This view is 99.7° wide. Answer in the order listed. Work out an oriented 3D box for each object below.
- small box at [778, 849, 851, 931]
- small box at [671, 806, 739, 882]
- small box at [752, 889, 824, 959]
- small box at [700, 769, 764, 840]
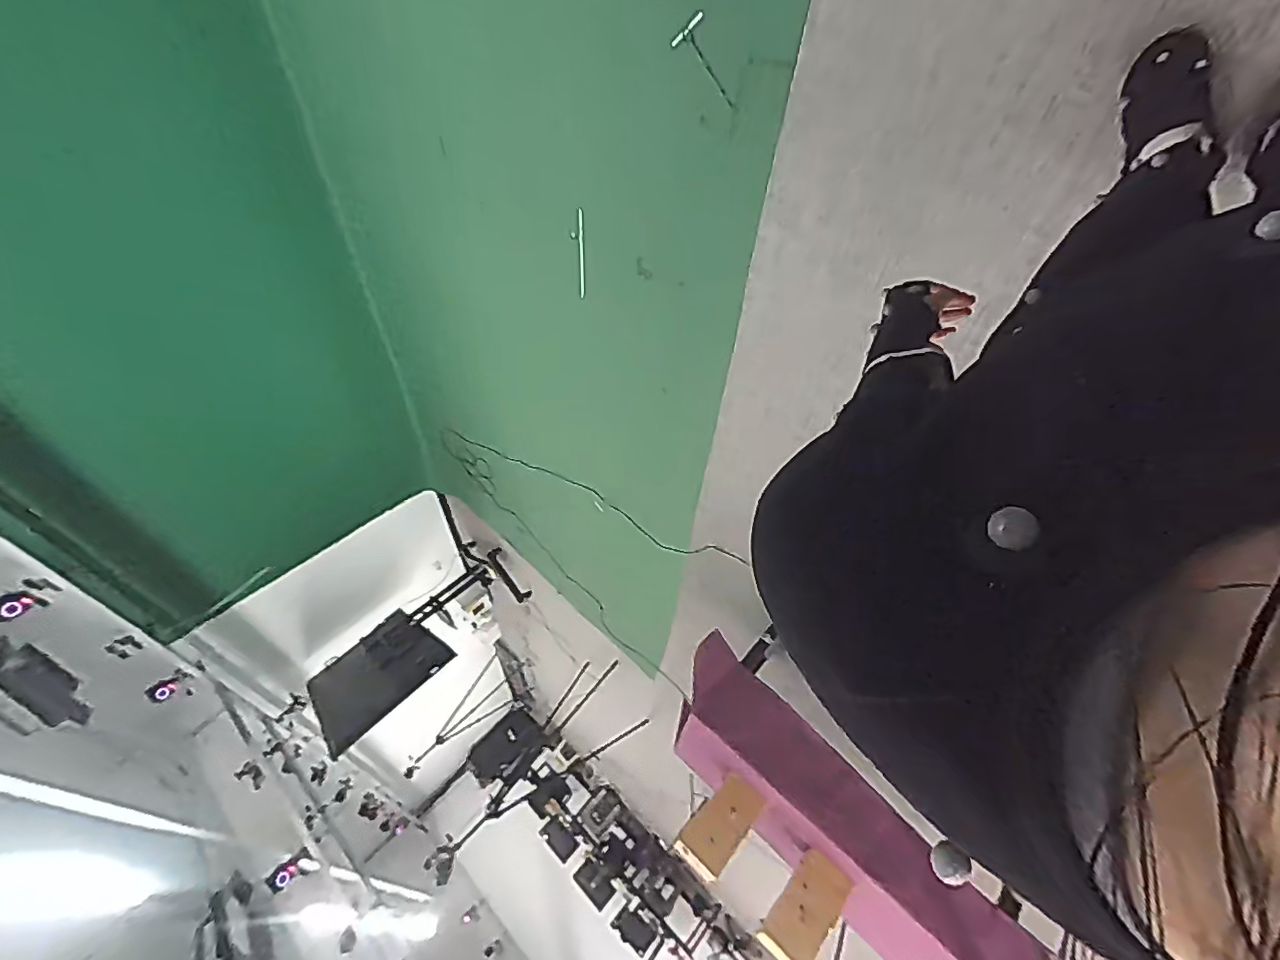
[{"bbox_3d":[0.639,1.498,1.977,0.179,0.176,0.168,36,146,27],"label":"small box"},{"bbox_3d":[0.244,1.361,2.035,0.179,0.176,0.168,37,146,22],"label":"small box"},{"bbox_3d":[0.522,1.590,1.903,0.168,0.176,0.179,35,146,27],"label":"small box"},{"bbox_3d":[0.358,1.277,2.119,0.179,0.176,0.168,38,146,23],"label":"small box"}]
